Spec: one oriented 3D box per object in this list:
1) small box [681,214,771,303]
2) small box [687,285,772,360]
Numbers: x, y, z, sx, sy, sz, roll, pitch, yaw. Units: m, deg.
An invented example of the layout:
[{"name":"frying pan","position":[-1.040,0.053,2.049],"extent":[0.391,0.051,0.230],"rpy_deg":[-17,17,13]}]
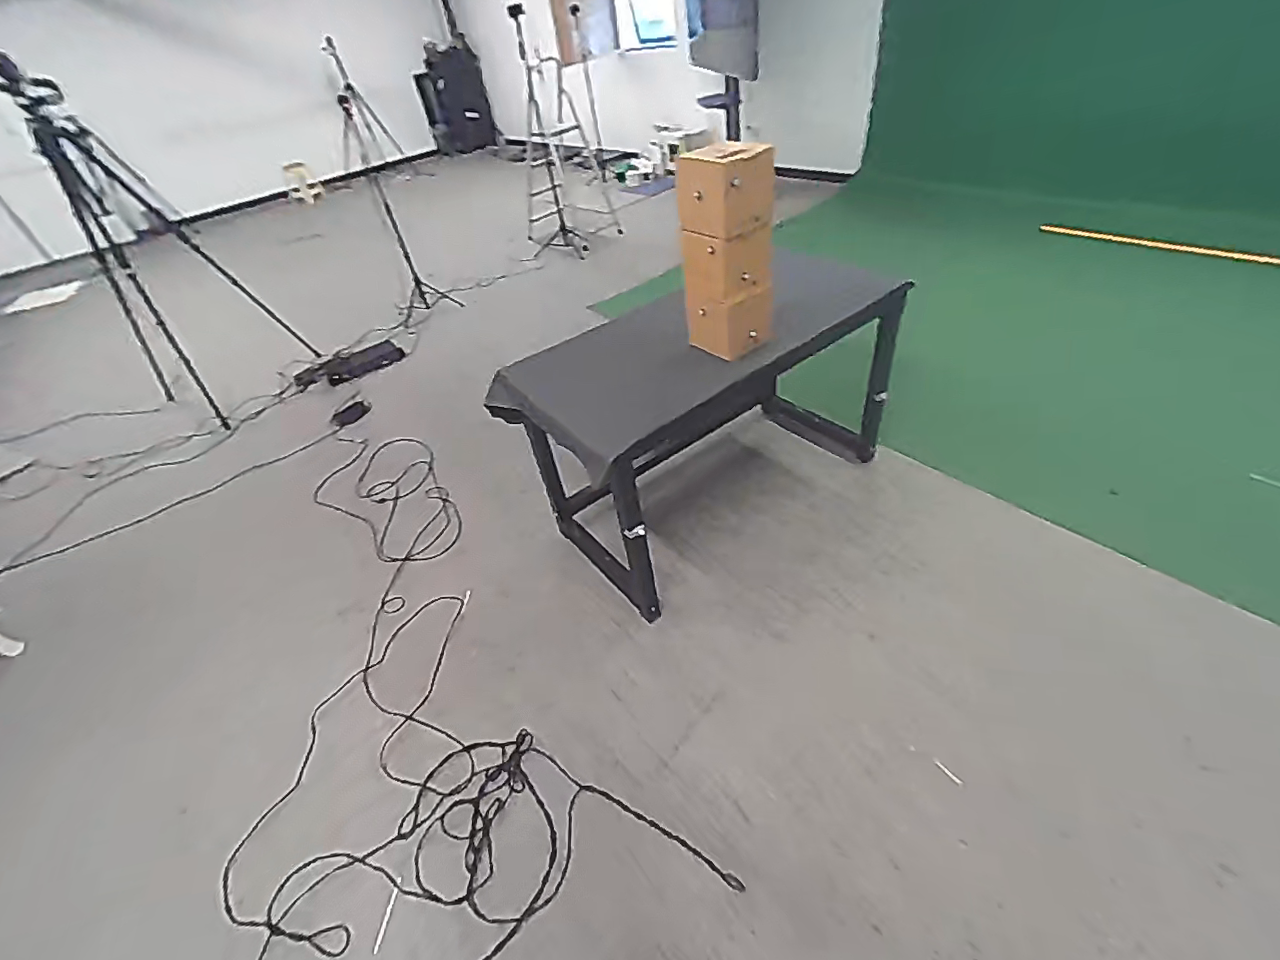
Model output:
[{"name":"small box","position":[0.229,-0.592,1.446],"extent":[0.168,0.176,0.179],"rpy_deg":[-30,44,-22]},{"name":"small box","position":[0.255,-0.465,1.544],"extent":[0.168,0.176,0.179],"rpy_deg":[-32,45,-22]}]
